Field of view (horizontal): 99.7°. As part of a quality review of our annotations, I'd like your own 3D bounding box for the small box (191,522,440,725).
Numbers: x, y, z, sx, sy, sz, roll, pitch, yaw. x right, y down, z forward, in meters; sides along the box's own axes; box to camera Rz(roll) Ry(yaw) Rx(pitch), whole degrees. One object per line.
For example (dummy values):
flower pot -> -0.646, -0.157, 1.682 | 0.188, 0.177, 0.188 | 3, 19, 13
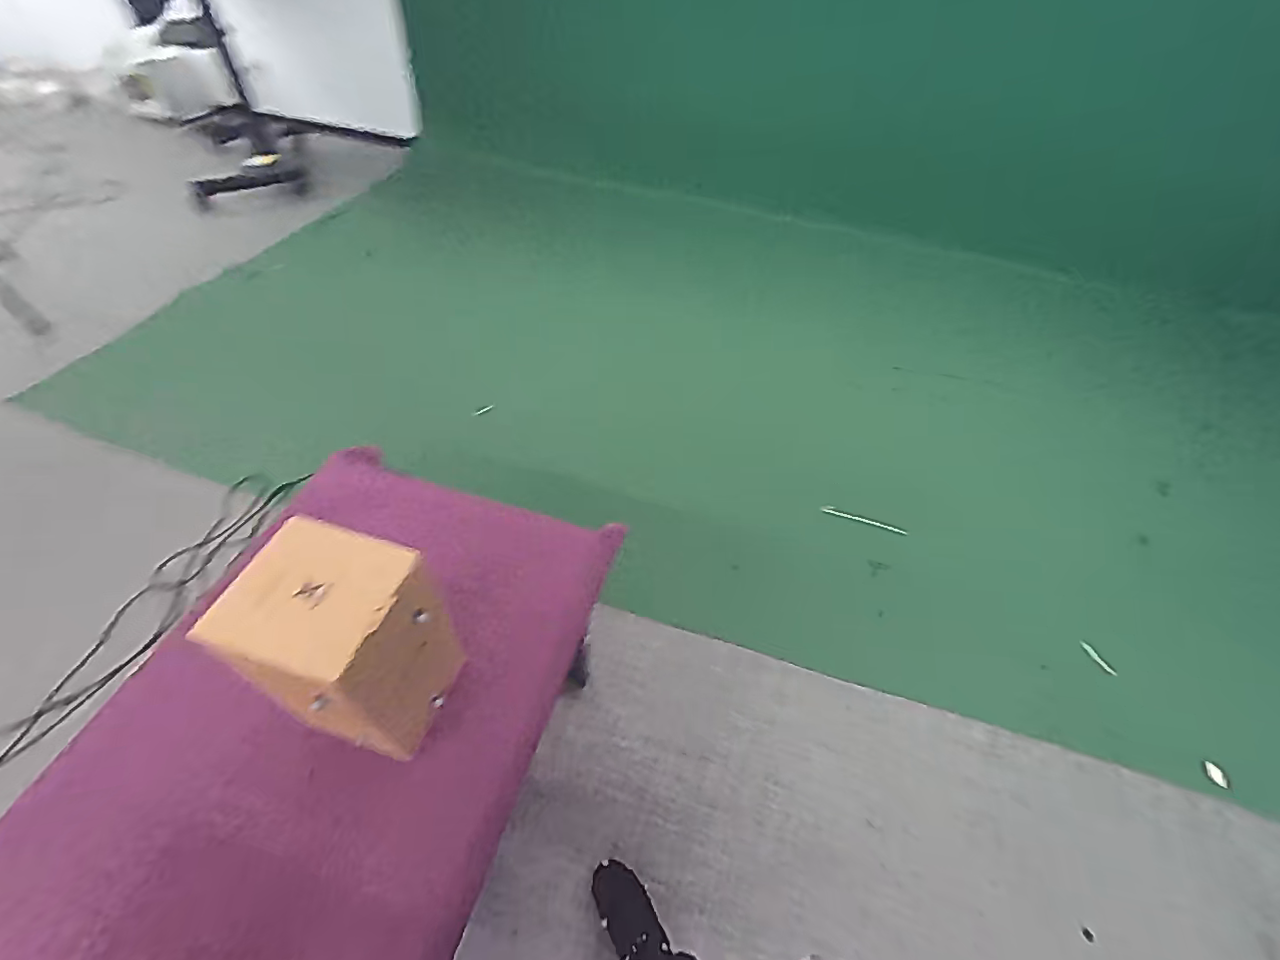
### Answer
small box -> -0.375, 0.182, 0.669 | 0.179, 0.176, 0.168 | 14, 49, 8
